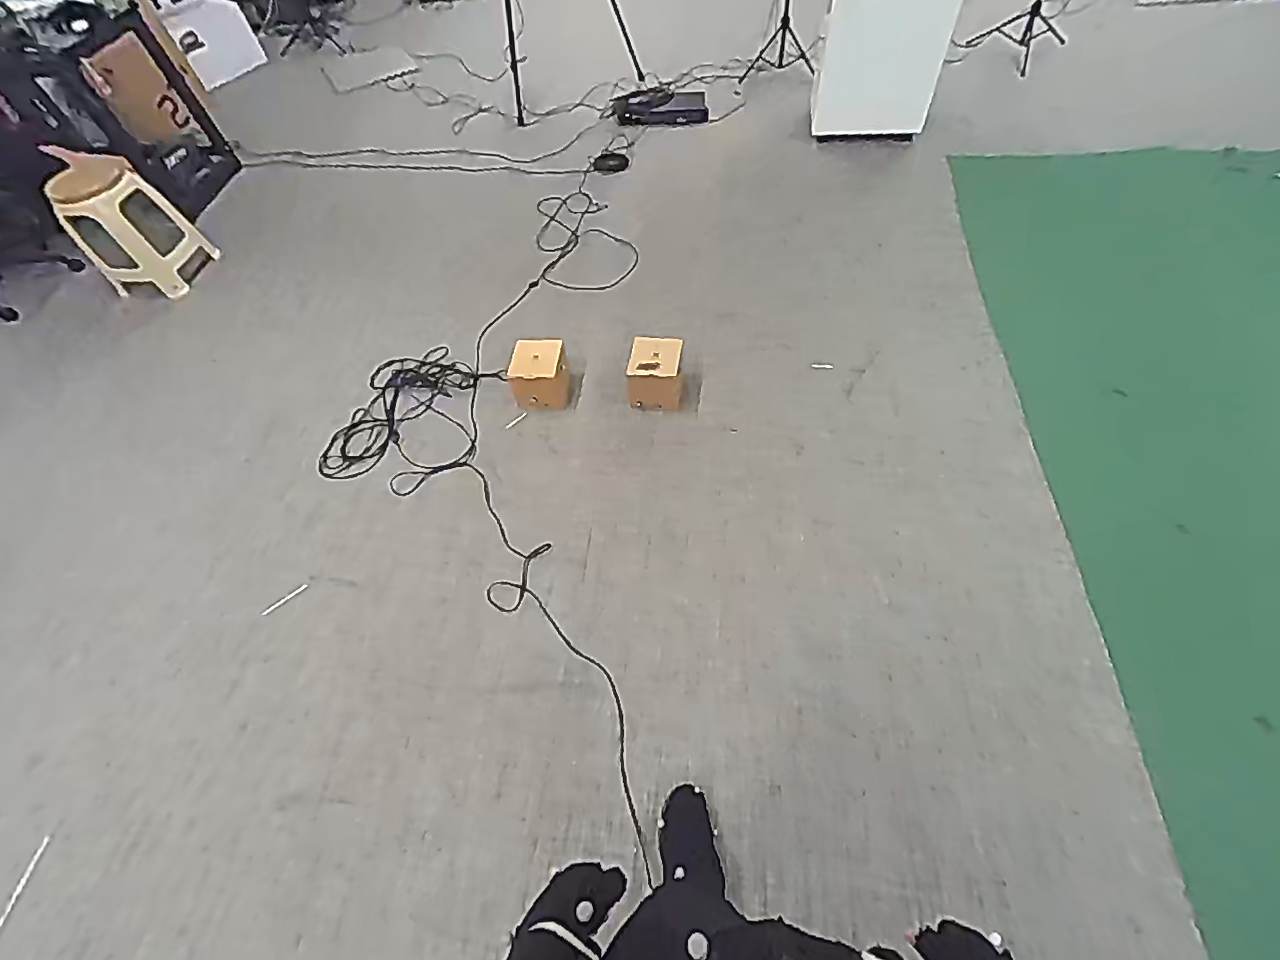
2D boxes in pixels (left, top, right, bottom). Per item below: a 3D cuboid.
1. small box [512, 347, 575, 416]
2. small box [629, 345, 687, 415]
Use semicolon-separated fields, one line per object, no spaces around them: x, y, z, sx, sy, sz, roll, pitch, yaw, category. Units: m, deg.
-0.331;-0.345;1.903;0.168;0.176;0.179;1;58;8;small box
0.068;-0.339;1.851;0.168;0.176;0.179;6;57;10;small box
